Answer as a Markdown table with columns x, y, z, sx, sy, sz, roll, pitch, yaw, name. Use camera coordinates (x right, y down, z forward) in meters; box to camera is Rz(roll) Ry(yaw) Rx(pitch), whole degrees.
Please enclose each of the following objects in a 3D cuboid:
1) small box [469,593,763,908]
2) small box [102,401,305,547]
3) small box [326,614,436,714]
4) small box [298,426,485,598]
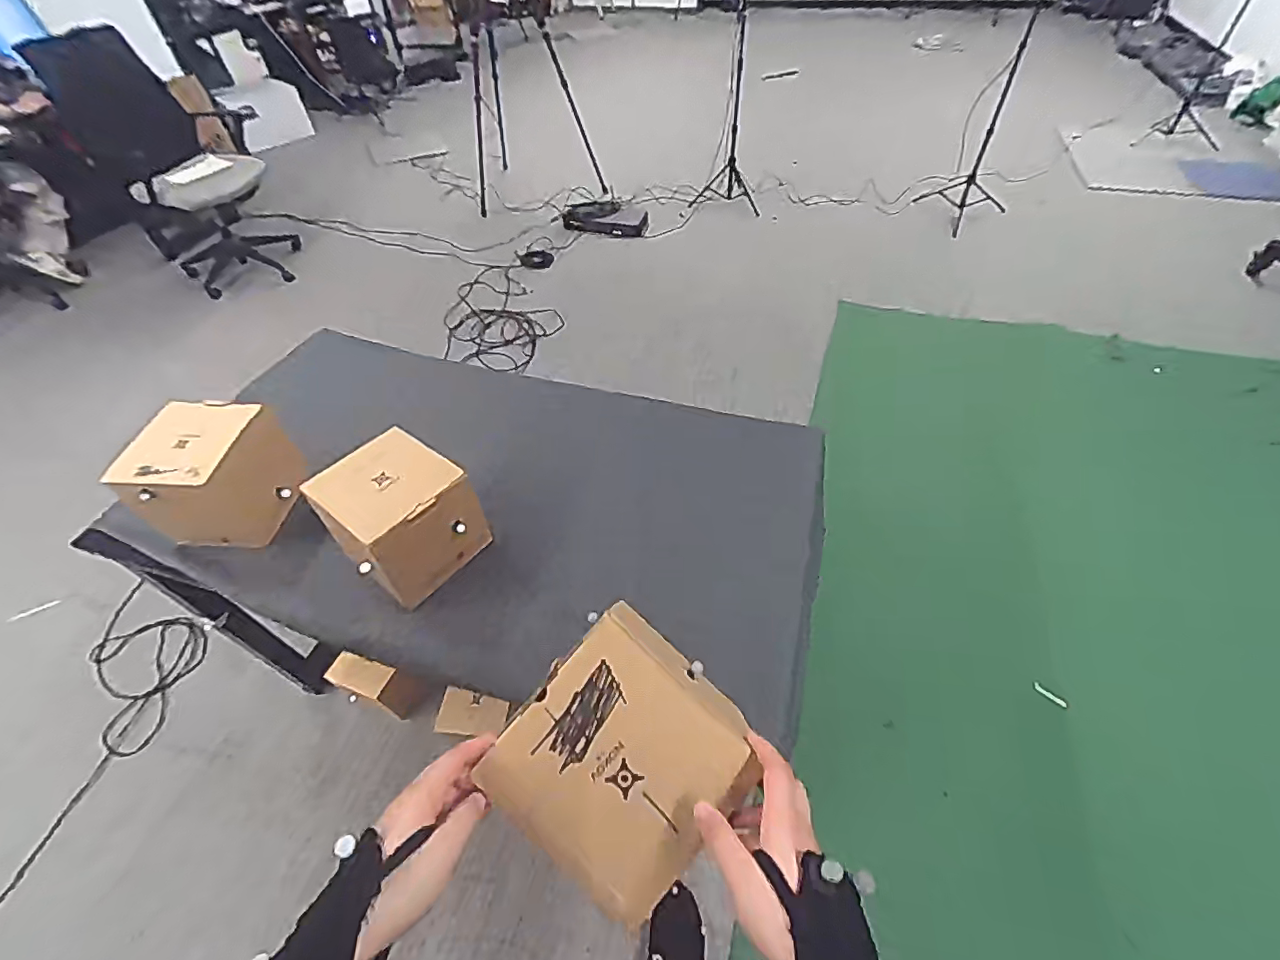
| x | y | z | sx | sy | sz | roll | pitch | yaw | name |
| --- | --- | --- | --- | --- | --- | --- | --- | --- | --- |
| -0.018 | 0.222 | 0.504 | 0.179 | 0.176 | 0.168 | 41 | 85 | 7 | small box |
| -0.700 | -0.010 | 0.900 | 0.168 | 0.176 | 0.179 | 2 | 50 | 5 | small box |
| -0.672 | 0.492 | 1.432 | 0.168 | 0.176 | 0.179 | 15 | 52 | 16 | small box |
| -0.366 | 0.053 | 0.827 | 0.179 | 0.176 | 0.168 | 28 | 53 | 26 | small box |
